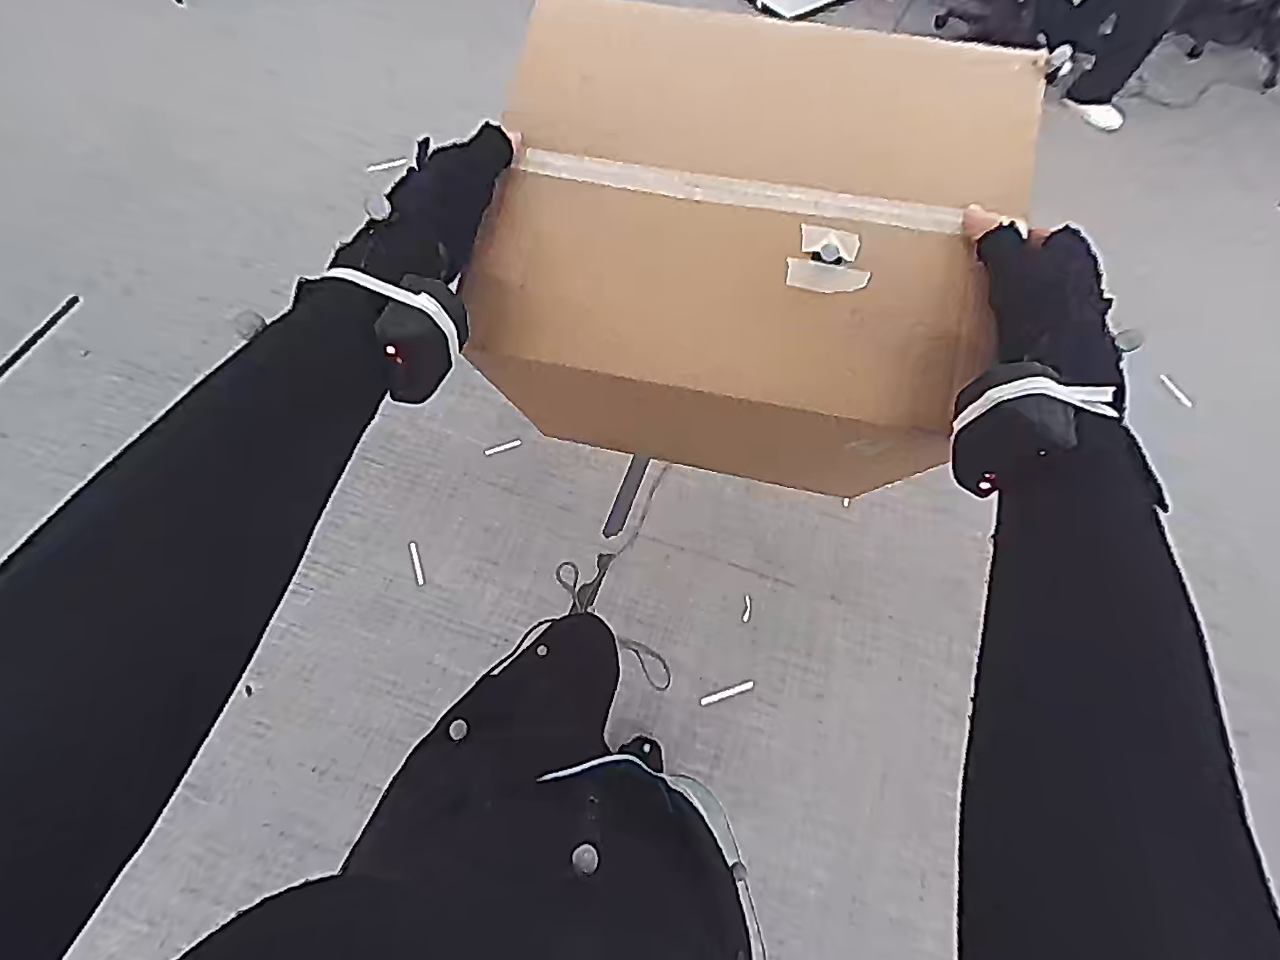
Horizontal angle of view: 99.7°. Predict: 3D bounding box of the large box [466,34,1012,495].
[{"bbox_3d":[0.087,-0.184,0.581,0.408,0.320,0.320,11,83,4],"label":"large box"}]
